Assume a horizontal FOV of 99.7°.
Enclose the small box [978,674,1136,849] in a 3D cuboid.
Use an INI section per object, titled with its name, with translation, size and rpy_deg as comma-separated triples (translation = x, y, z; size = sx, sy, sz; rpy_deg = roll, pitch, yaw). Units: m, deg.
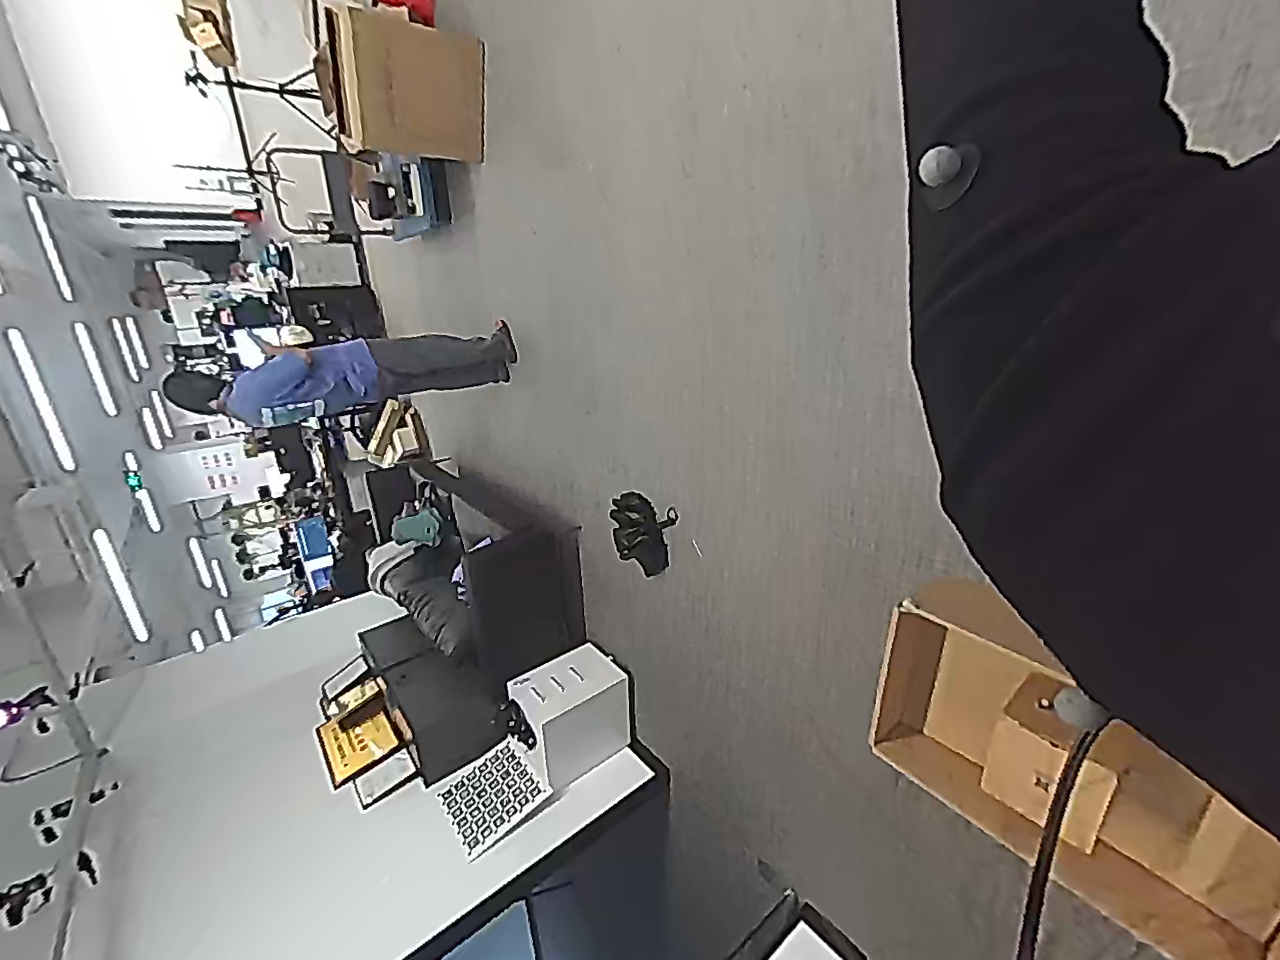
[small box]
translation = 0.729, 0.477, 0.948
size = 0.168, 0.176, 0.179
rpy_deg = 22, 123, 49
